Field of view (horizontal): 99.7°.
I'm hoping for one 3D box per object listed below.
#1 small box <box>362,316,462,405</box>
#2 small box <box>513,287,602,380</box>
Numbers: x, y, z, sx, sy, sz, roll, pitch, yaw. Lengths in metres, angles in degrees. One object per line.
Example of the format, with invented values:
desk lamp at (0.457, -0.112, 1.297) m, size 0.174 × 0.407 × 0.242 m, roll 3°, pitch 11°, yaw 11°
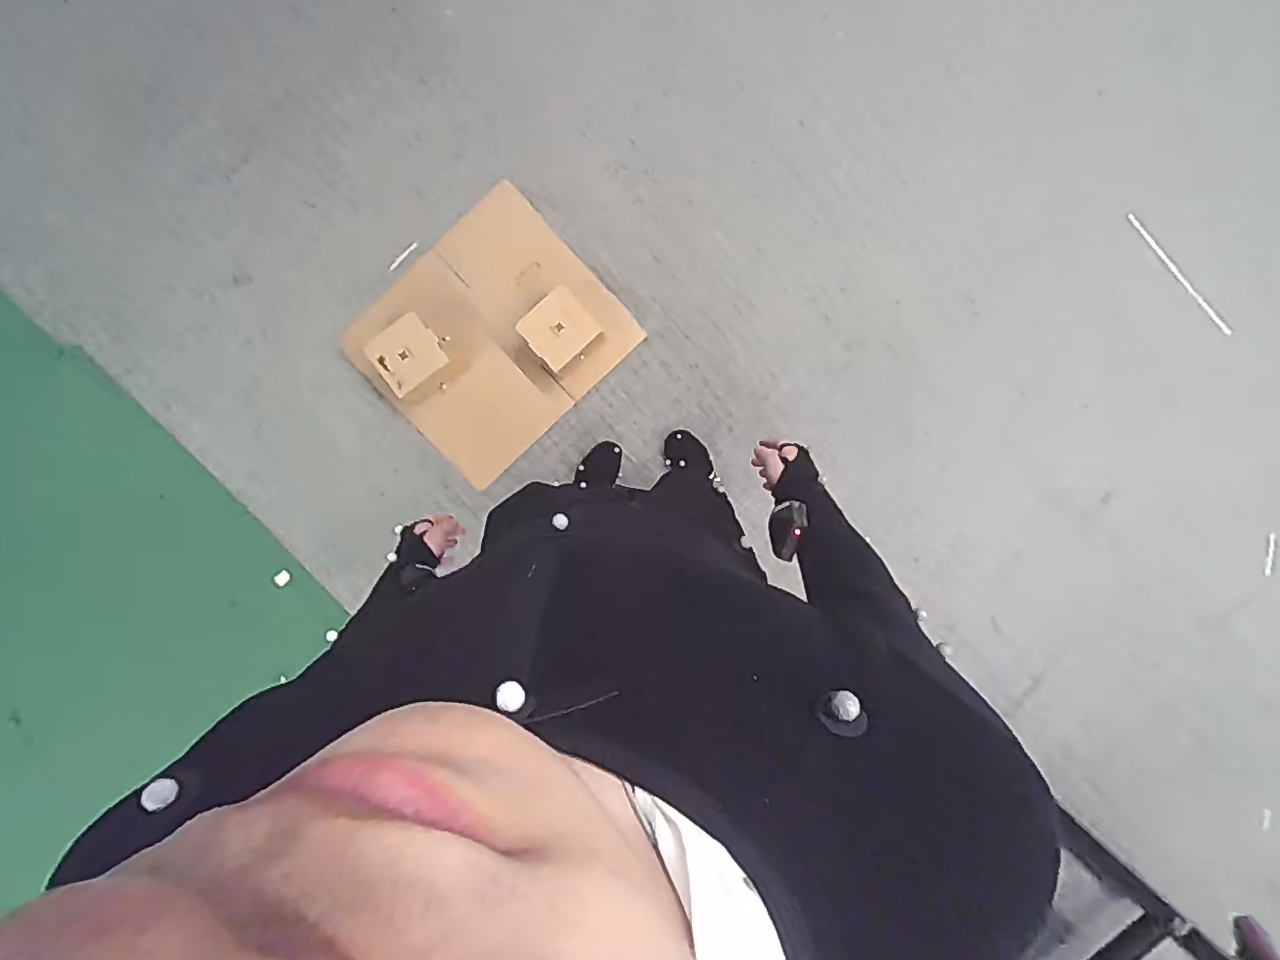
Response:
small box at (-0.619, -0.325, 1.502) m, size 0.179 × 0.176 × 0.168 m, roll -35°, pitch 94°, yaw 2°
small box at (-0.220, -0.396, 1.504) m, size 0.179 × 0.176 × 0.168 m, roll -42°, pitch 95°, yaw 3°
